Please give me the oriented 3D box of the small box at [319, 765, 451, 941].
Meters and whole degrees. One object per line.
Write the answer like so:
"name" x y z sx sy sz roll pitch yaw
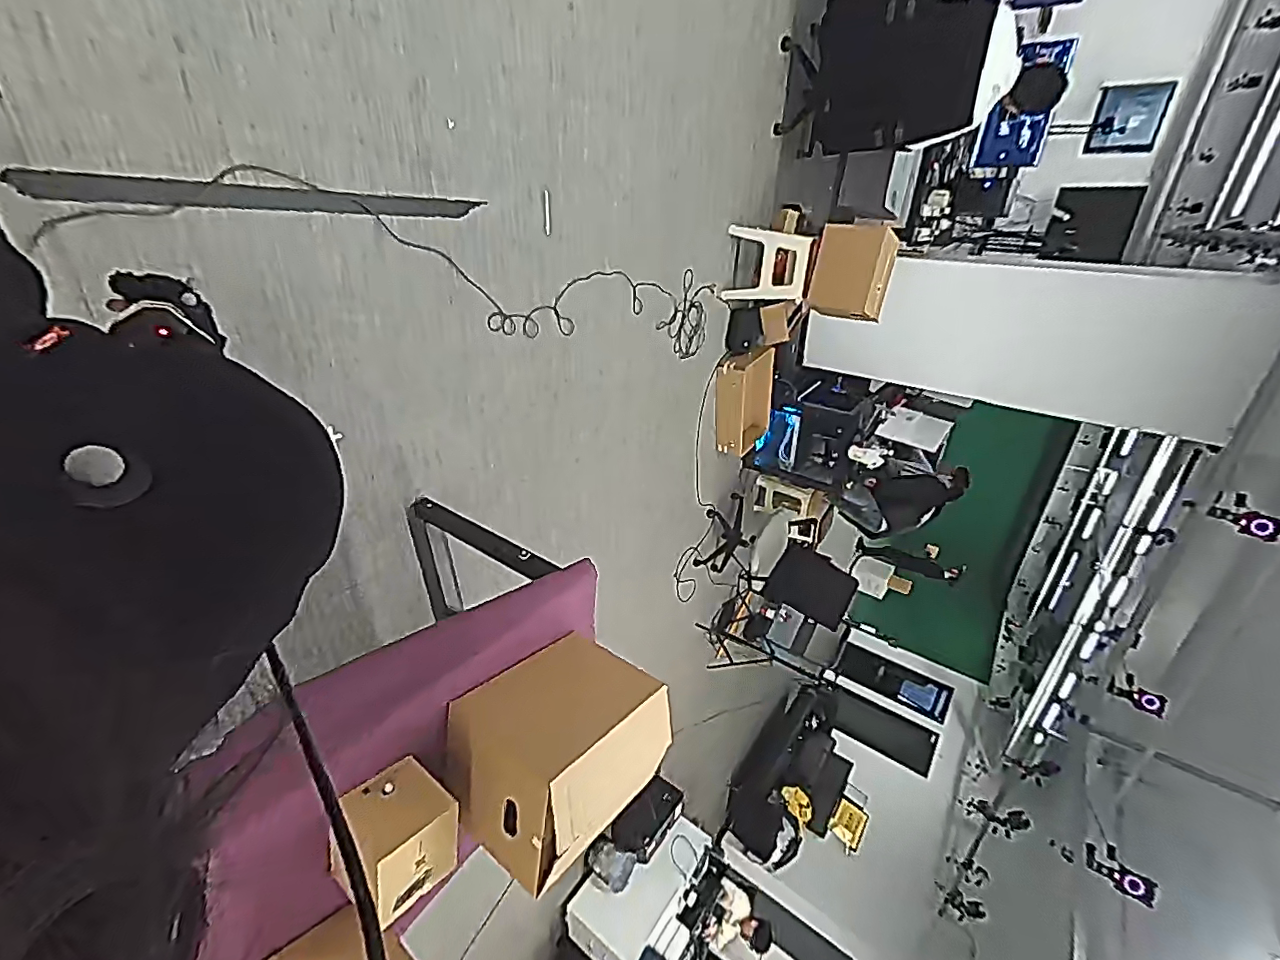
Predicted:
"small box" -0.482 0.688 1.021 0.168 0.176 0.179 -16 119 -54
